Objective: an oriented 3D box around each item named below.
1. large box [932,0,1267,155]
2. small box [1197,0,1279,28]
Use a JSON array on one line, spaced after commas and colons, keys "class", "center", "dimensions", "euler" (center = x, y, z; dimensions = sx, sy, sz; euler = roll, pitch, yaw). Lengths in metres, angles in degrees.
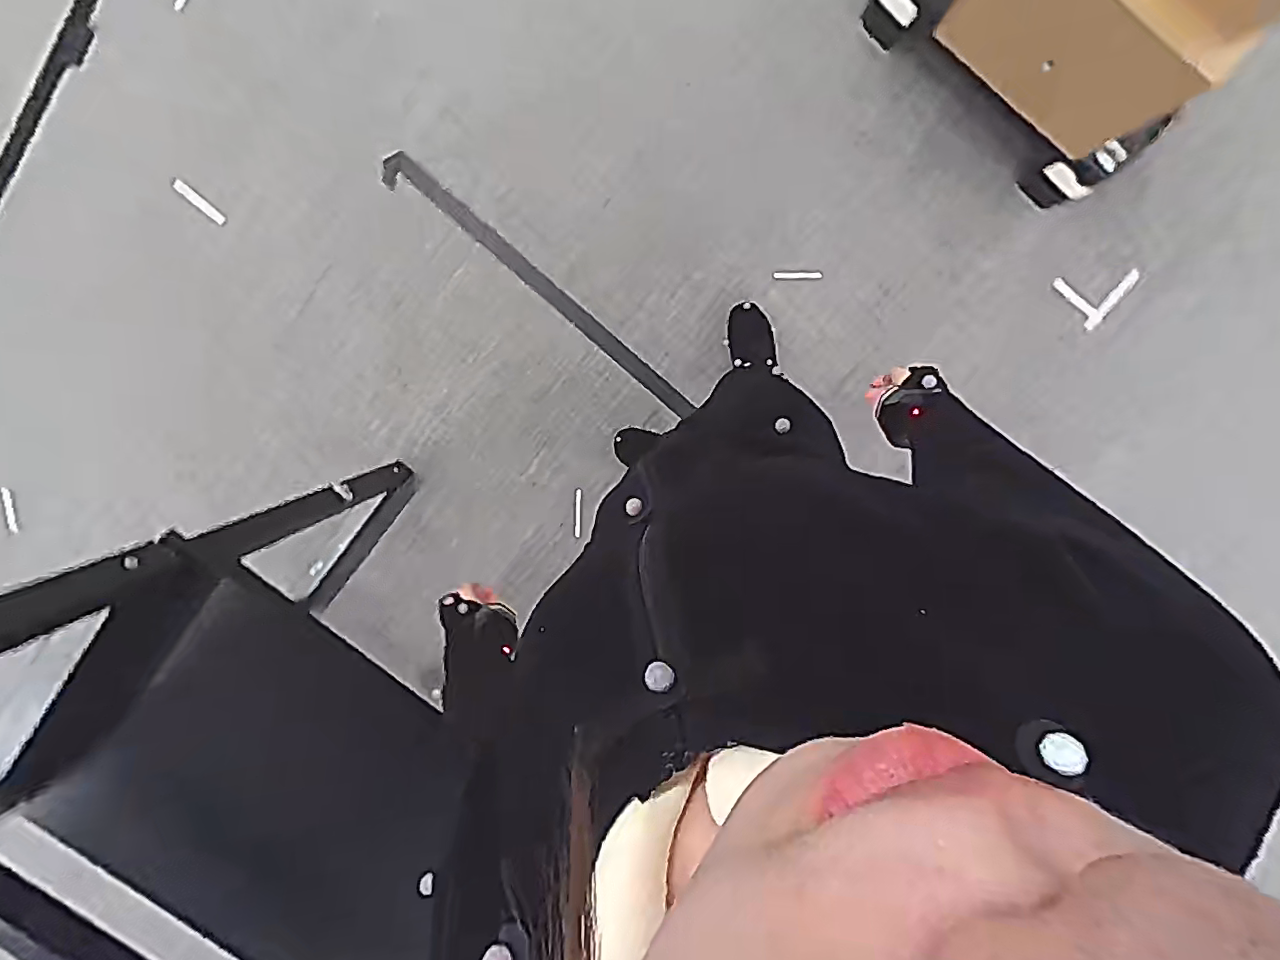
[{"class": "large box", "center": [0.837, -0.884, 0.957], "dimensions": [0.408, 0.320, 0.320], "euler": [36, 99, -4]}, {"class": "small box", "center": [0.891, -0.770, 0.727], "dimensions": [0.179, 0.176, 0.168], "euler": [40, 100, -5]}]
